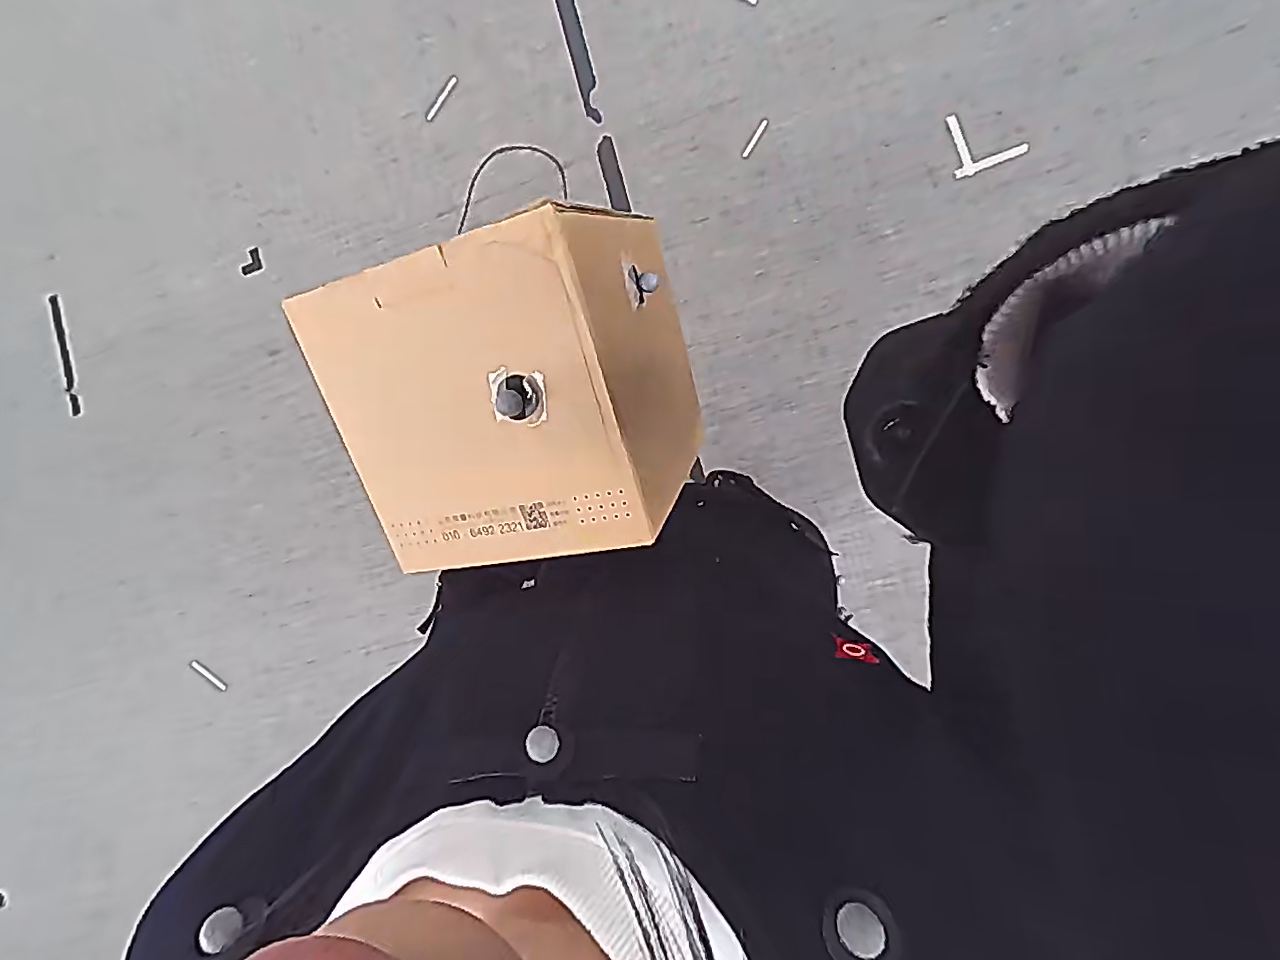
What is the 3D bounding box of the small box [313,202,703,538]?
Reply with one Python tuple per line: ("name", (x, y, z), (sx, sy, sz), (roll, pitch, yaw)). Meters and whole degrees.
("small box", (-0.063, -0.069, 0.369), (0.168, 0.179, 0.176), (-9, 109, 21))
